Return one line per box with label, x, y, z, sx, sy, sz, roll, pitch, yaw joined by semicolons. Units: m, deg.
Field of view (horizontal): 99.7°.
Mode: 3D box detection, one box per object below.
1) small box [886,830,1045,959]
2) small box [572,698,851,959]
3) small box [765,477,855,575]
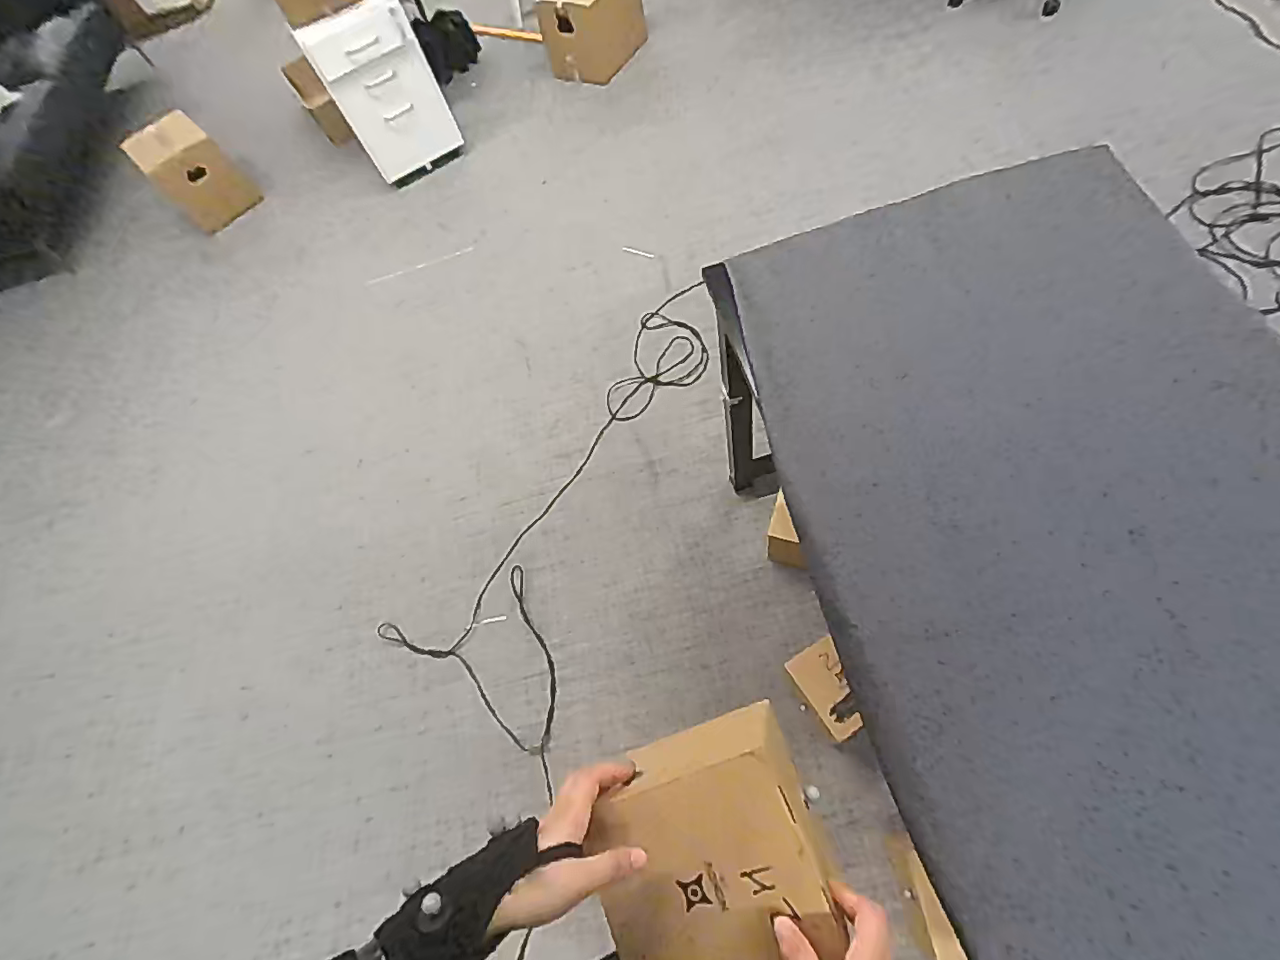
small box;0.562;0.739;0.966;0.168;0.176;0.179;-12;62;6
small box;0.067;0.322;0.495;0.179;0.176;0.168;-25;75;8
small box;0.411;0.117;1.329;0.179;0.176;0.168;14;66;18
